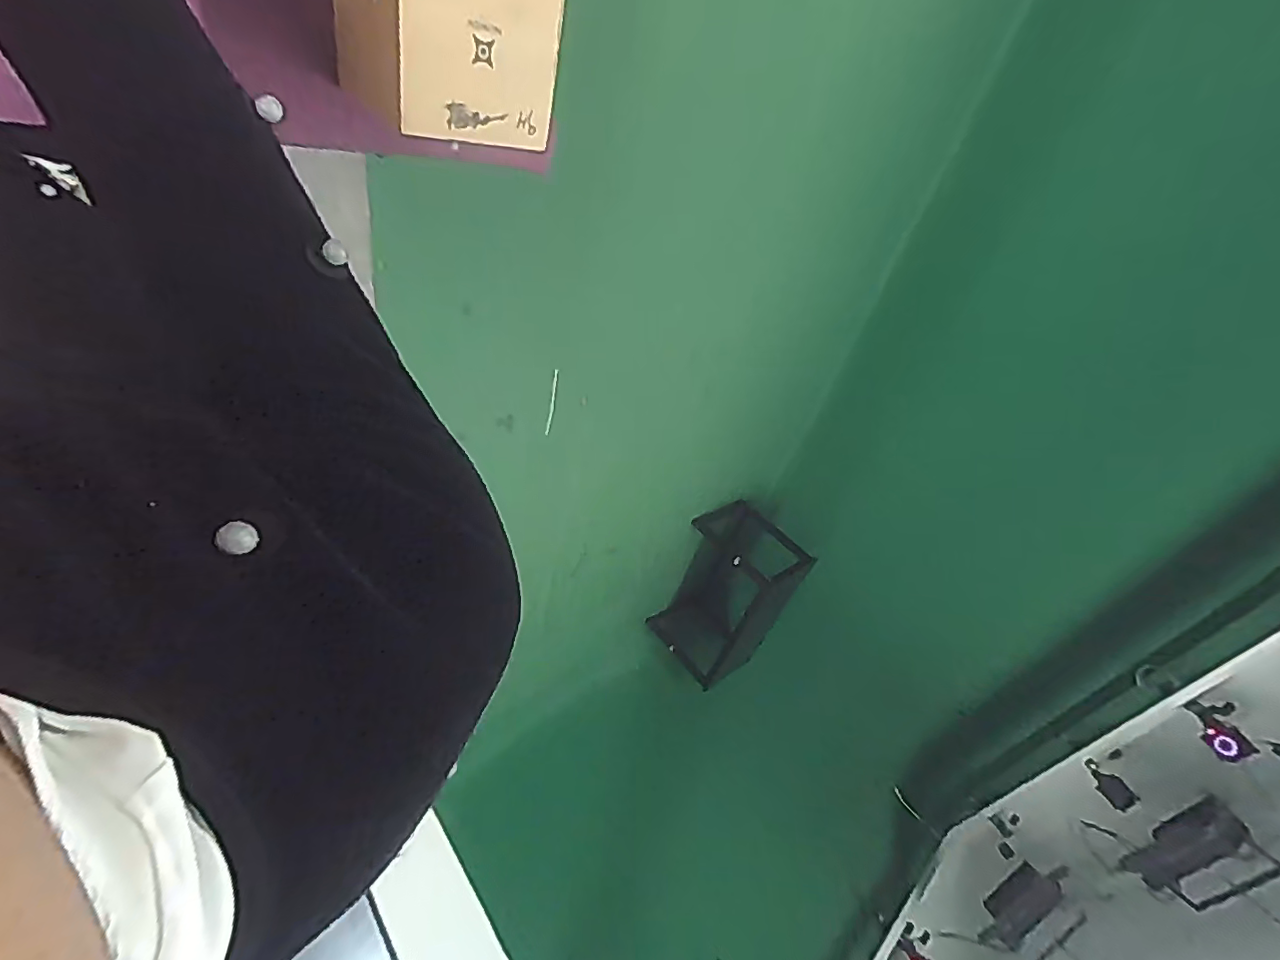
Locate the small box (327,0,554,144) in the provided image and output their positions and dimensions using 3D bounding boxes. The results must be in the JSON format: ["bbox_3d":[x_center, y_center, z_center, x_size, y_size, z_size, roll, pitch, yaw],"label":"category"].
[{"bbox_3d":[-0.206,-0.472,0.547,0.168,0.176,0.179,-18,141,-37],"label":"small box"}]

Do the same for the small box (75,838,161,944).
[{"bbox_3d":[-1.560,1.217,1.617,0.168,0.176,0.179,-8,134,-46],"label":"small box"}]
